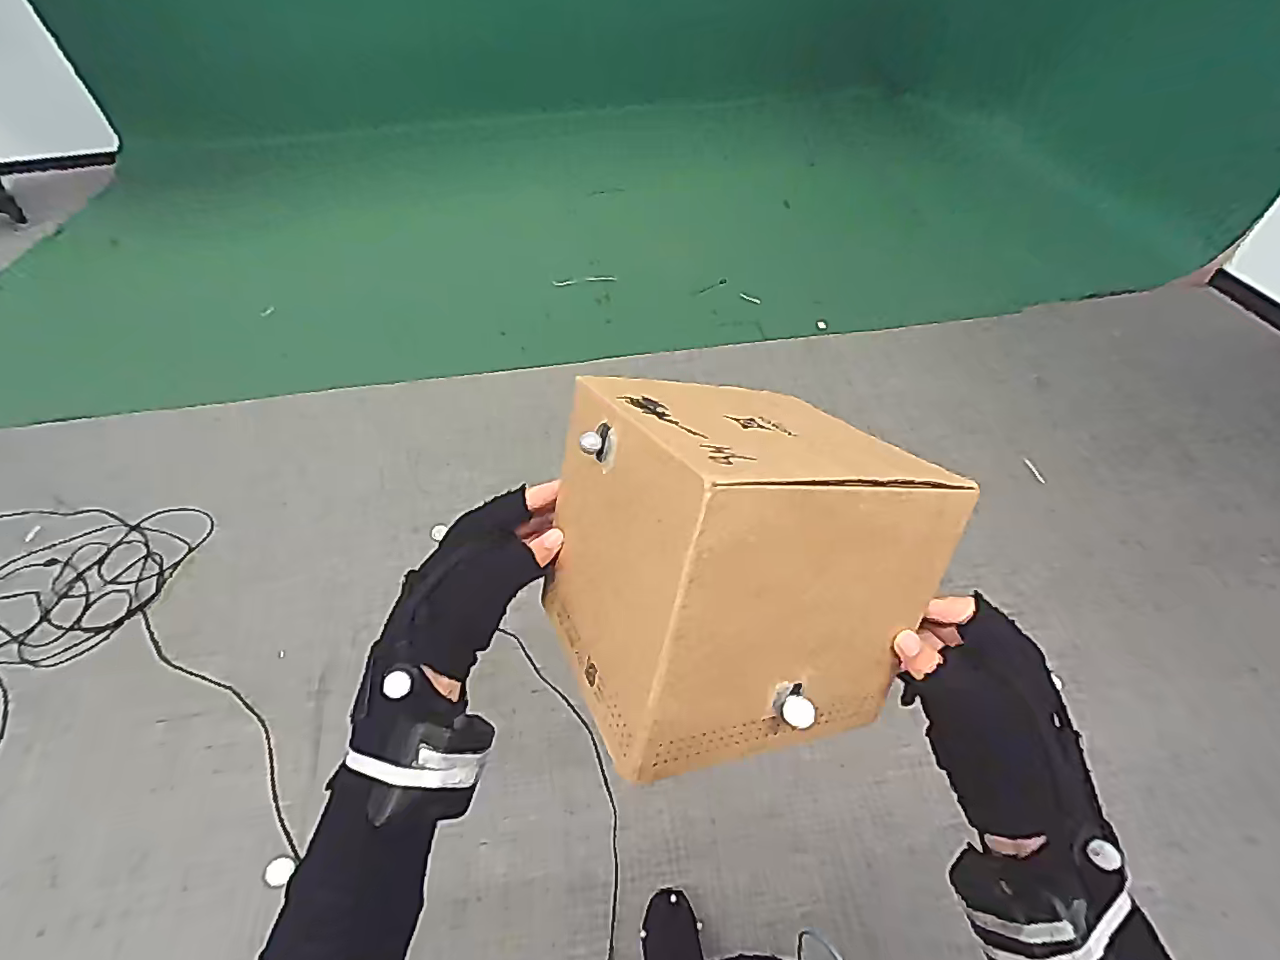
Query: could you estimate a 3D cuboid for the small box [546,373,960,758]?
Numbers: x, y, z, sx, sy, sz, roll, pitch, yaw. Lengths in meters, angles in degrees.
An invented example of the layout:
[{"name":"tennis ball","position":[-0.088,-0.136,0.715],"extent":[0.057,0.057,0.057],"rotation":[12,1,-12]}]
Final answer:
[{"name":"small box","position":[0.051,0.042,0.350],"extent":[0.179,0.176,0.168],"rotation":[1,24,-26]}]
